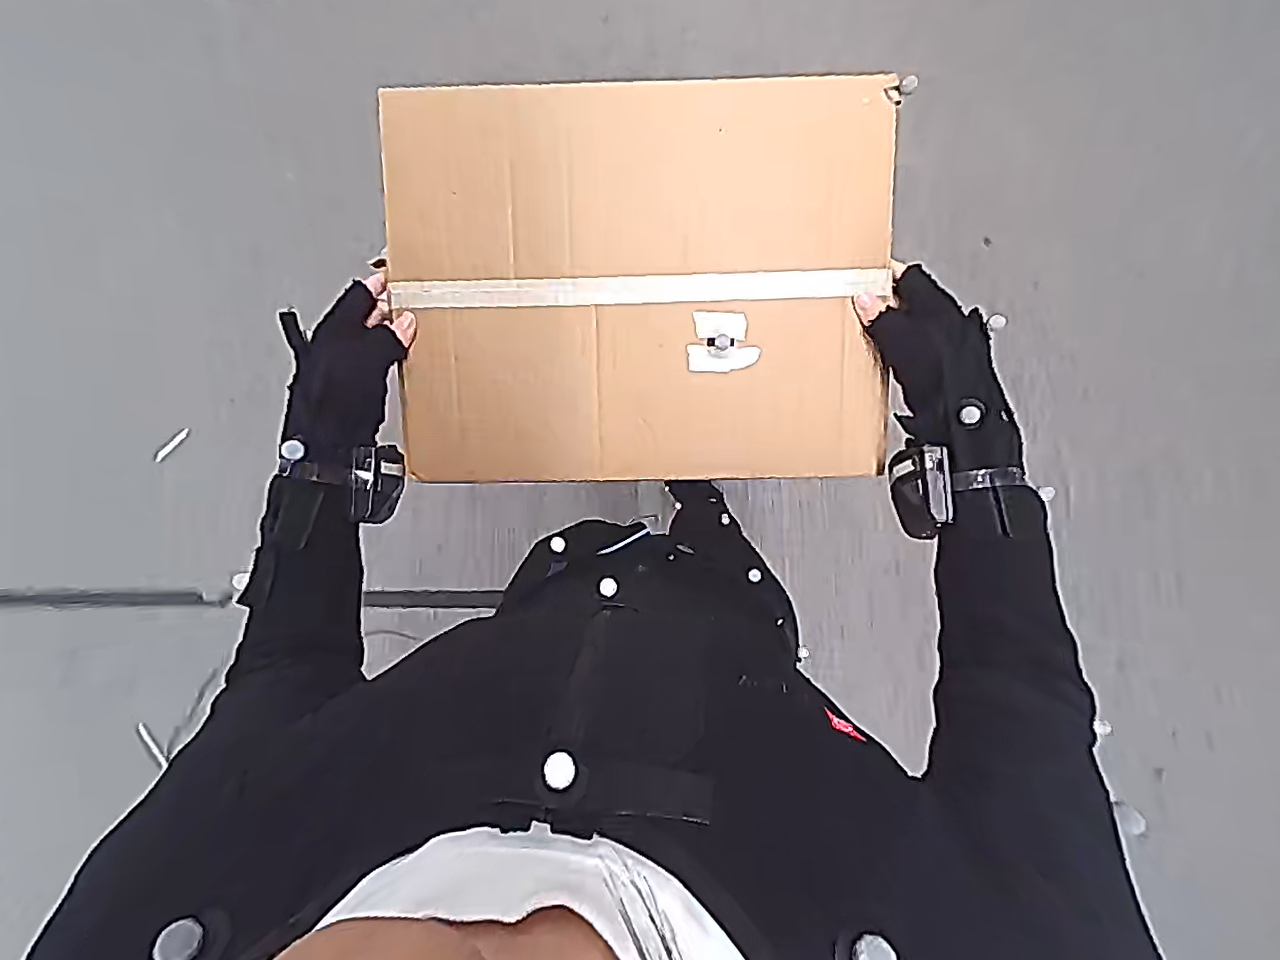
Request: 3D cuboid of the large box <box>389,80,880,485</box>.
[{"bbox_3d":[0.000,-0.175,0.601,0.408,0.320,0.320,-3,97,0],"label":"large box"}]
